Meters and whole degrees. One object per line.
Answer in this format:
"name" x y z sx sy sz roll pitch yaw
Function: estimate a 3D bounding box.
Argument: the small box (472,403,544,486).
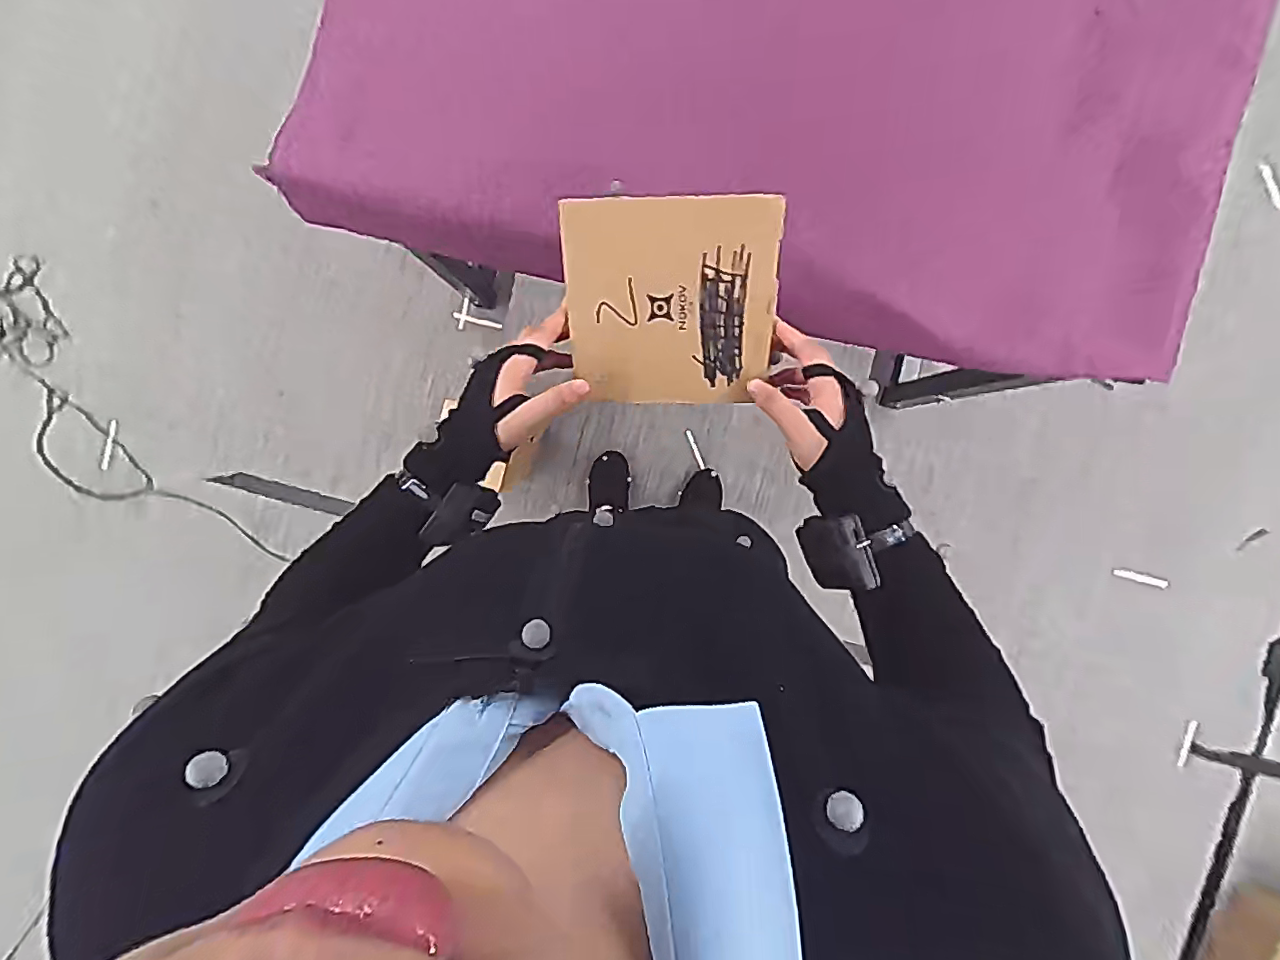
"small box" -0.364 -0.085 1.412 0.168 0.176 0.179 20 93 -1

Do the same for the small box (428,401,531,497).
"small box" -0.359 -0.071 1.247 0.168 0.176 0.179 15 93 0
